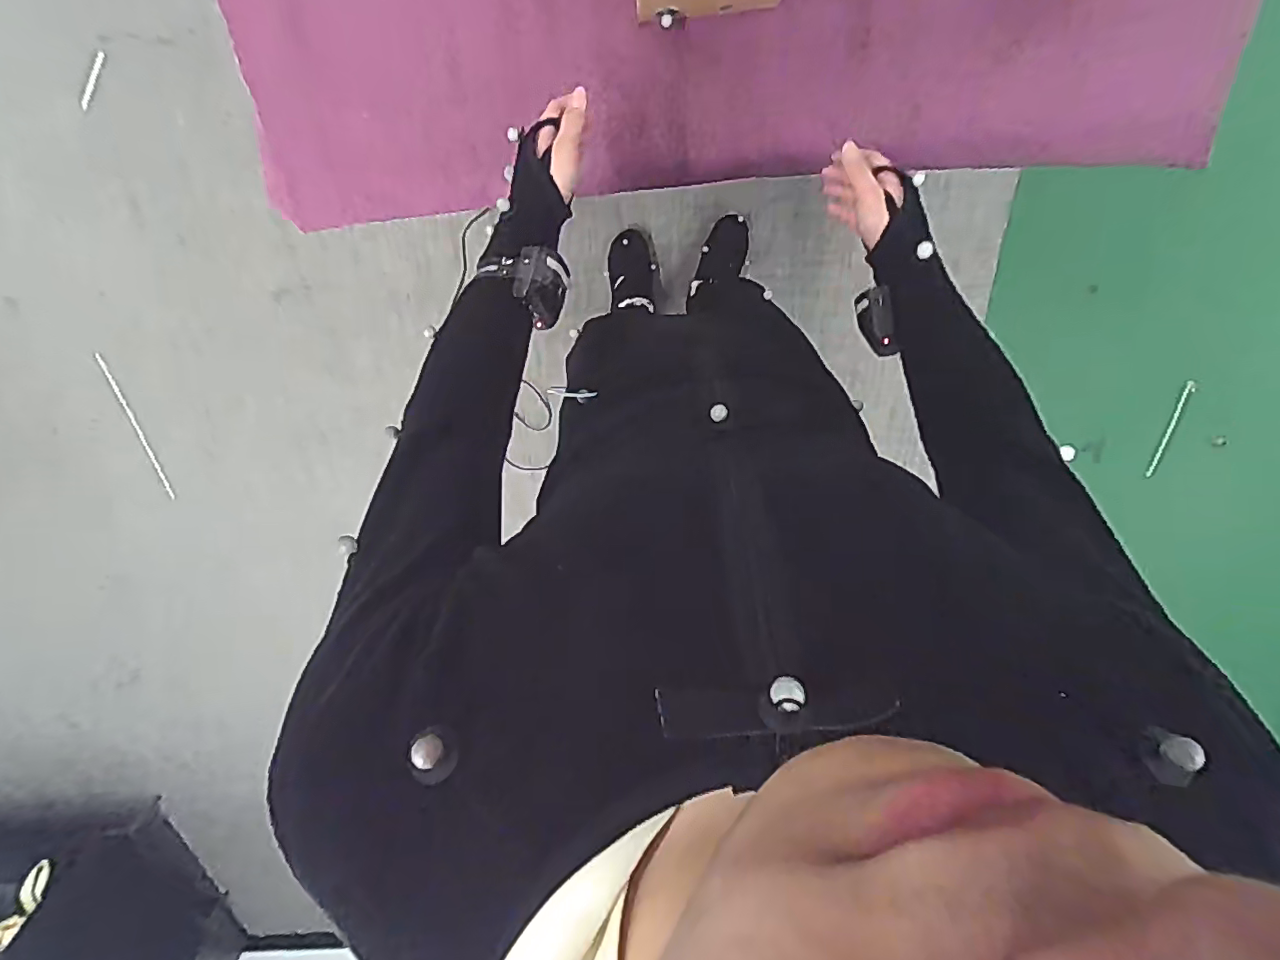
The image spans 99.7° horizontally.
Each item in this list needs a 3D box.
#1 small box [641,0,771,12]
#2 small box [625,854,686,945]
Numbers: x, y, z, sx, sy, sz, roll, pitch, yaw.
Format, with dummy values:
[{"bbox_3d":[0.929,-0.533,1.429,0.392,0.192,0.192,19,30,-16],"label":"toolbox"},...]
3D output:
[{"bbox_3d":[0.073,-0.586,0.522,0.168,0.176,0.179,-4,116,1],"label":"small box"},{"bbox_3d":[0.043,1.265,1.636,0.179,0.176,0.168,1,116,0],"label":"small box"}]
